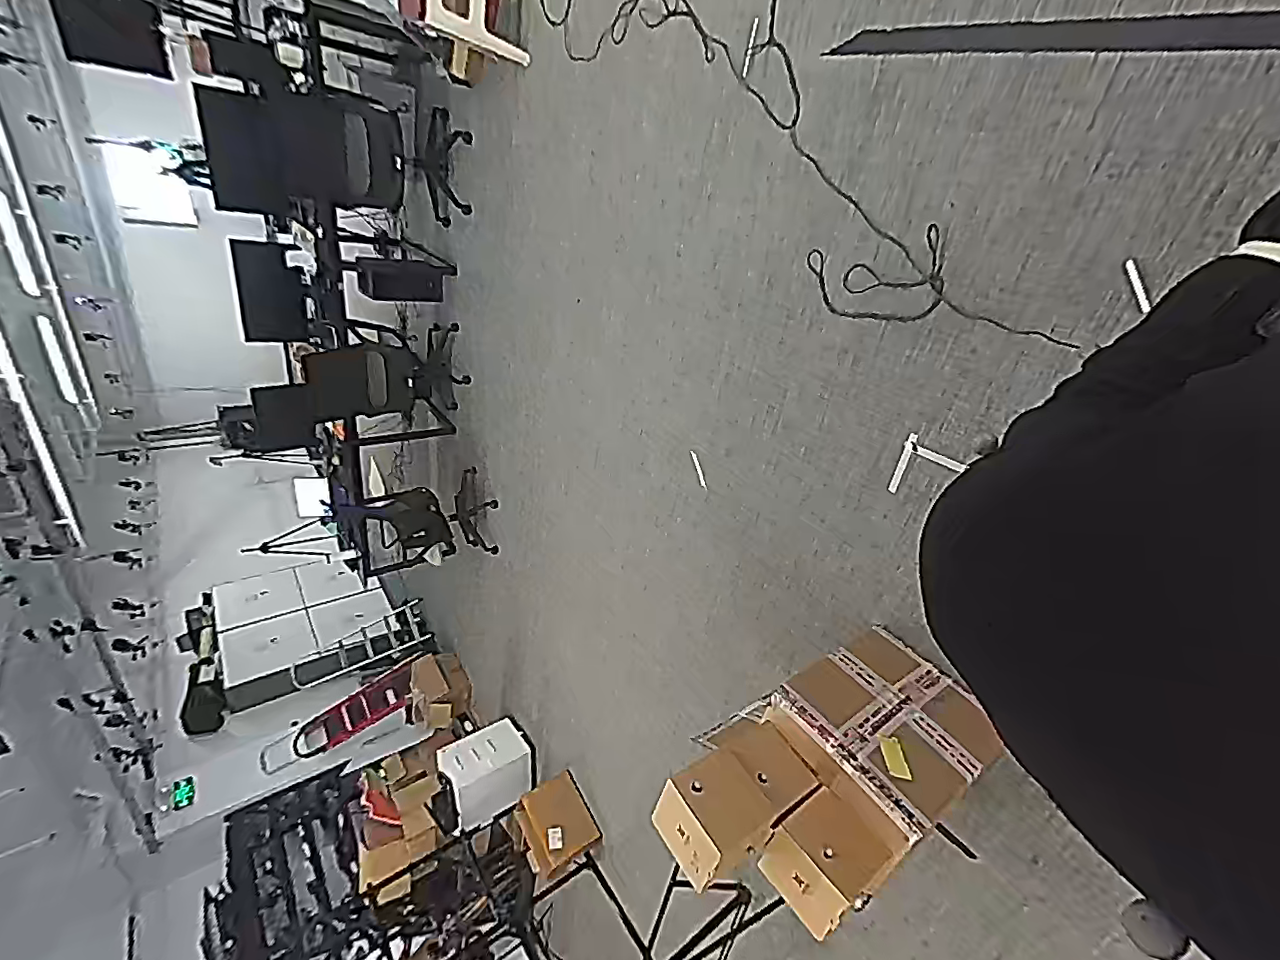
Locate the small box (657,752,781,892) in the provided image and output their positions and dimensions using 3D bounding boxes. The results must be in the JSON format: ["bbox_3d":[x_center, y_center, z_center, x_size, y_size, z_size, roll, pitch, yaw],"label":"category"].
[{"bbox_3d":[0.168,0.721,1.166,0.179,0.176,0.168,43,131,40],"label":"small box"}]

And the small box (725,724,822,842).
[{"bbox_3d":[0.292,0.716,1.276,0.179,0.176,0.168,47,133,38],"label":"small box"}]
